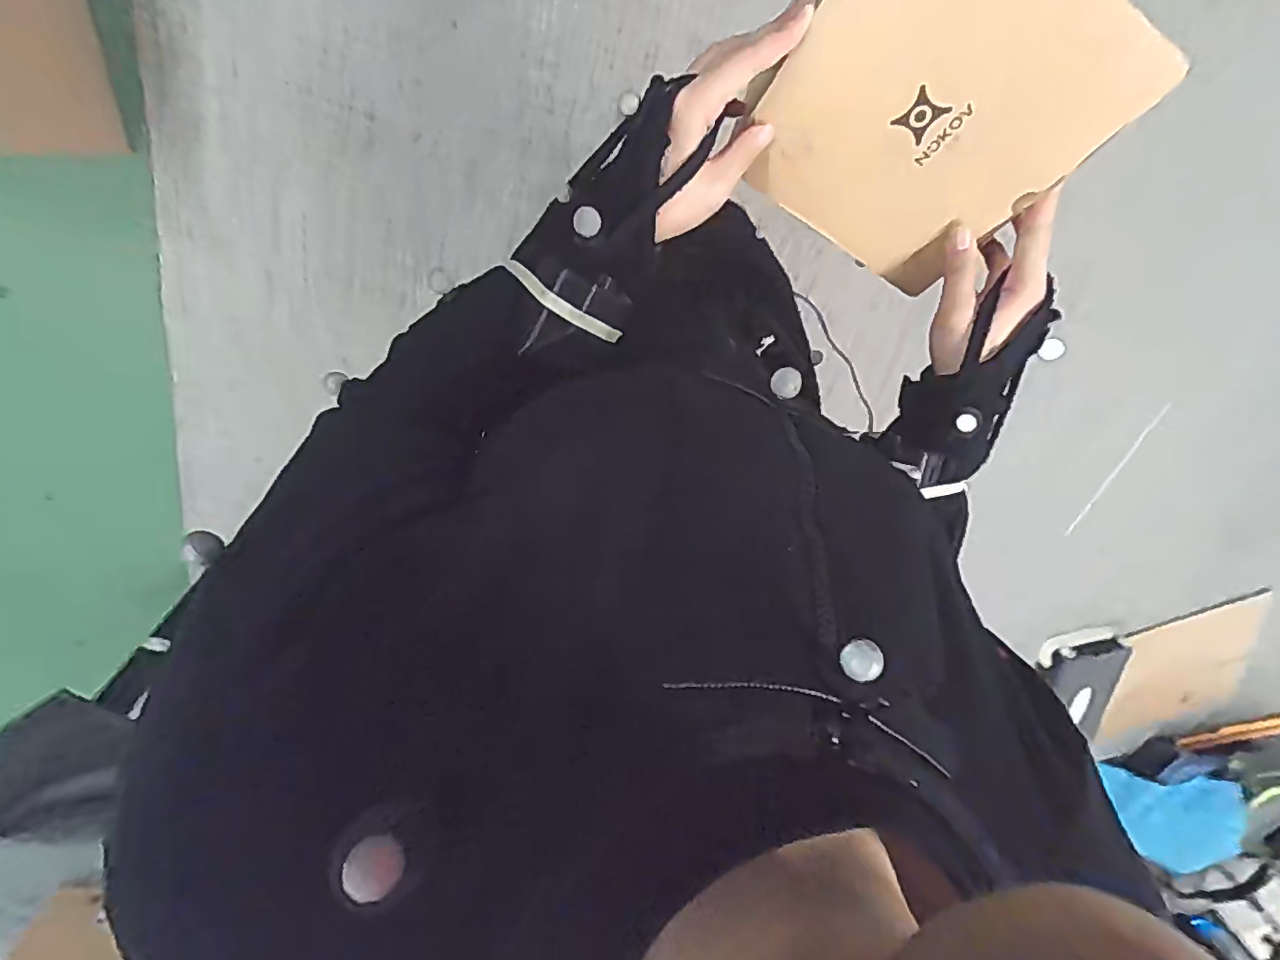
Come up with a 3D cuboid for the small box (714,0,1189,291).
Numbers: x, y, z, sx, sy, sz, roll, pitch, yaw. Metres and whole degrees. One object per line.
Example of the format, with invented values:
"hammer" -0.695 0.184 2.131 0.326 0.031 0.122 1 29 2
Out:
"small box" 0.172 -0.268 0.346 0.179 0.176 0.168 26 144 -15
